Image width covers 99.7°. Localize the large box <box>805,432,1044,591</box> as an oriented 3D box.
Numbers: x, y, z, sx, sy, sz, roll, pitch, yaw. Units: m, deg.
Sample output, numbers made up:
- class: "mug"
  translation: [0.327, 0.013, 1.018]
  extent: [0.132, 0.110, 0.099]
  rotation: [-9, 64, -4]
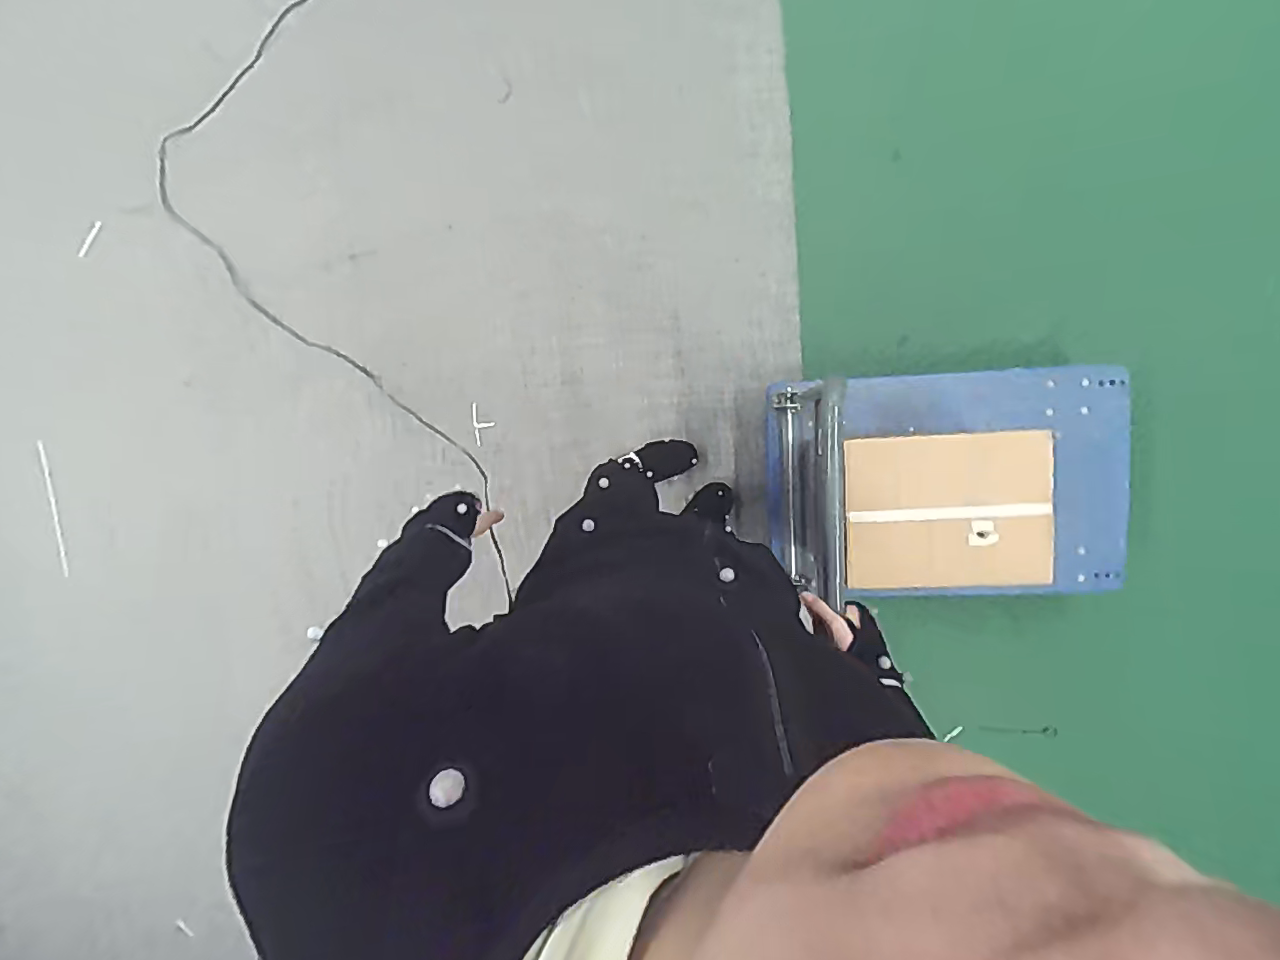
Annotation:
- class: "large box"
  translation: [0.623, 0.059, 1.250]
  extent: [0.408, 0.320, 0.320]
  rotation: [-3, 94, 5]
